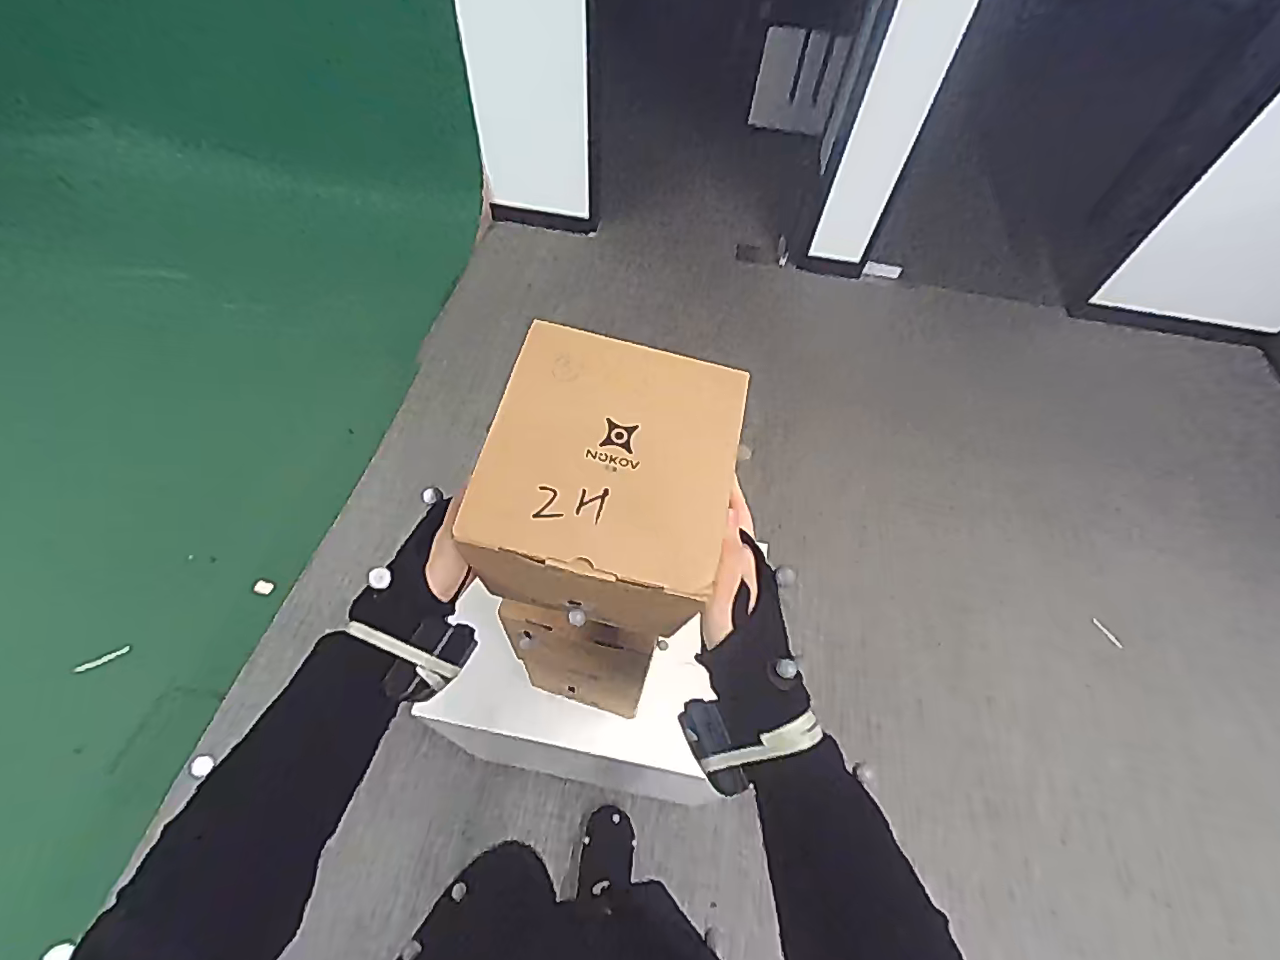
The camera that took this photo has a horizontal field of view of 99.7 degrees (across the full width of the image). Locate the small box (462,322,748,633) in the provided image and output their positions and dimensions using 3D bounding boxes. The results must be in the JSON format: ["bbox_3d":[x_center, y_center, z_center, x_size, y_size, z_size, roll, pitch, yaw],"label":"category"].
[{"bbox_3d":[-0.023,0.009,0.440,0.168,0.176,0.179,13,64,1],"label":"small box"}]

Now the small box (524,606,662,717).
[{"bbox_3d":[-0.054,0.221,0.790,0.168,0.176,0.179,16,56,6],"label":"small box"}]
